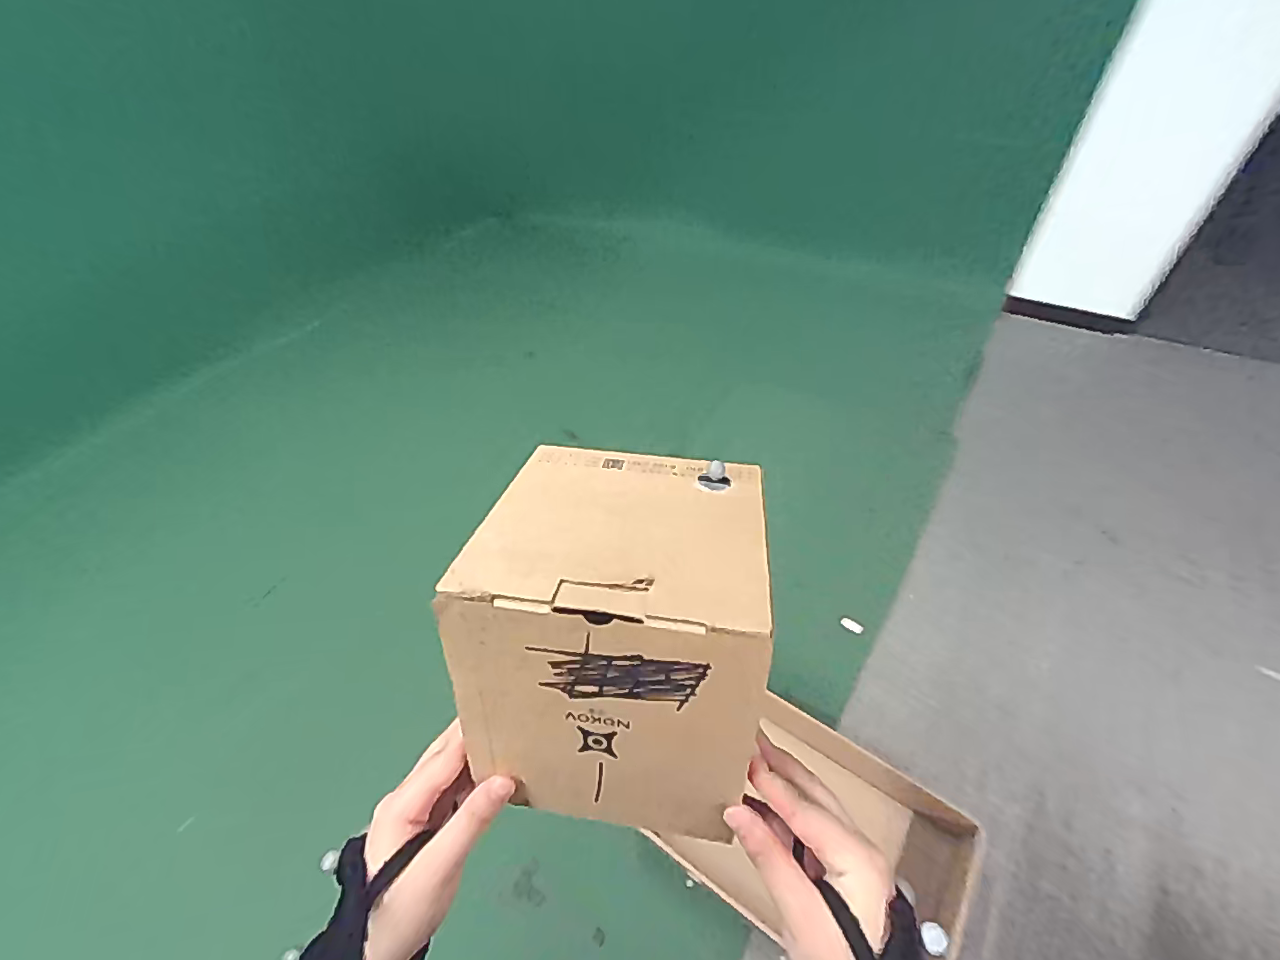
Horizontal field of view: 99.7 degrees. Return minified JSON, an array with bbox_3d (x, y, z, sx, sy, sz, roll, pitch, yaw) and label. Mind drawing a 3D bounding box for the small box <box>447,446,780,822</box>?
[{"bbox_3d":[-0.009,0.090,0.368,0.168,0.179,0.176,5,30,6],"label":"small box"}]
